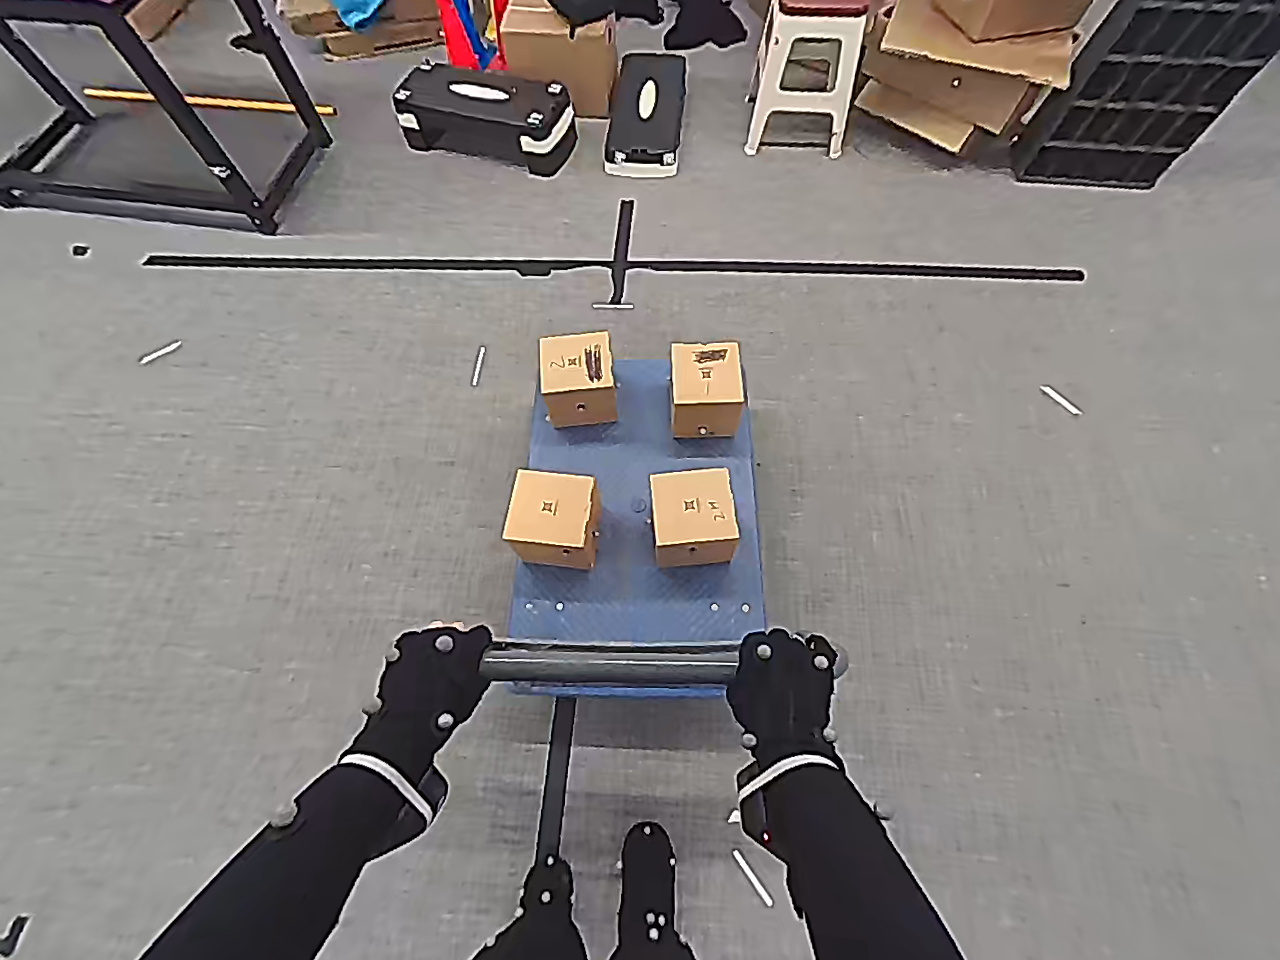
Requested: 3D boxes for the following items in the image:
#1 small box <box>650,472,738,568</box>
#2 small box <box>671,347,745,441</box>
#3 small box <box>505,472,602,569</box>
[{"bbox_3d":[0.117,0.096,1.226,0.179,0.176,0.168,-5,65,0],"label":"small box"},{"bbox_3d":[0.165,-0.215,1.368,0.168,0.176,0.179,-1,66,2],"label":"small box"},{"bbox_3d":[-0.189,0.097,1.238,0.179,0.176,0.168,6,66,3],"label":"small box"}]
